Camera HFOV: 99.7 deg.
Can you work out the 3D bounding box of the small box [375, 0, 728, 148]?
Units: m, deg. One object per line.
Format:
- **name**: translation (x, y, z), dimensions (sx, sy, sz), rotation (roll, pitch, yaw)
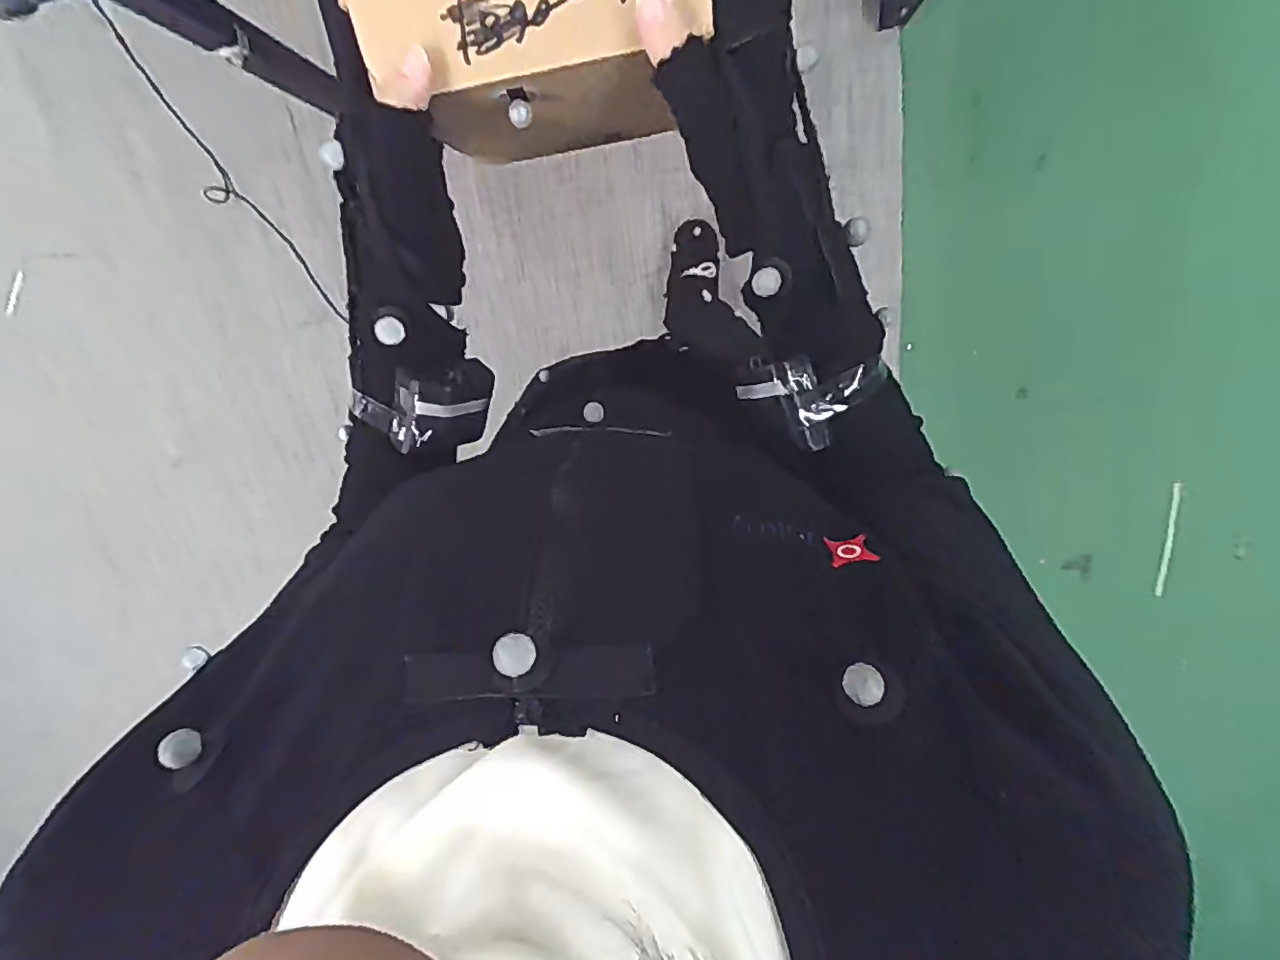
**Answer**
- **small box**: translation (-0.054, -0.316, 0.302), dimensions (0.168, 0.176, 0.179), rotation (-10, 112, 5)
